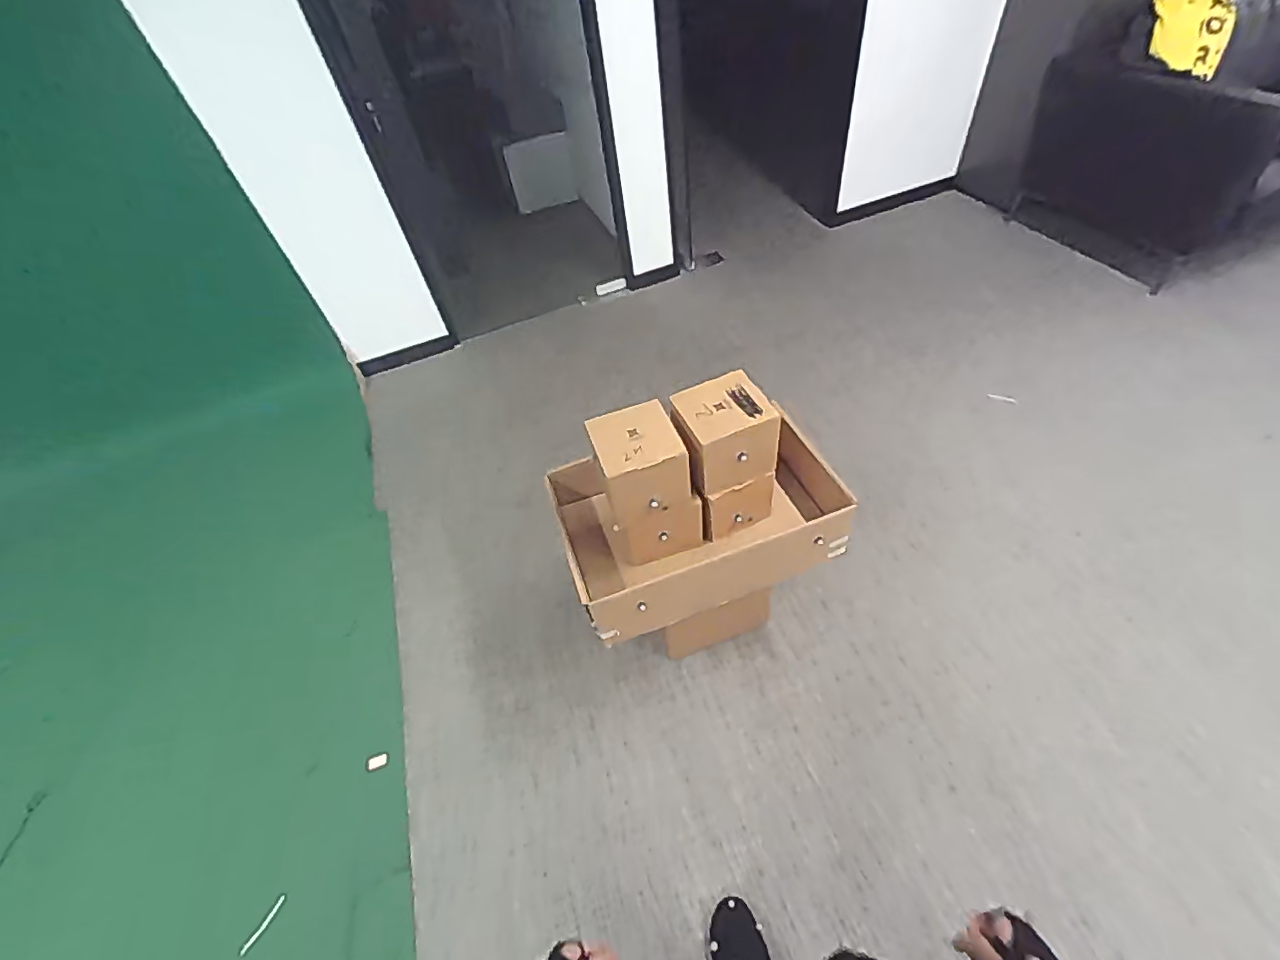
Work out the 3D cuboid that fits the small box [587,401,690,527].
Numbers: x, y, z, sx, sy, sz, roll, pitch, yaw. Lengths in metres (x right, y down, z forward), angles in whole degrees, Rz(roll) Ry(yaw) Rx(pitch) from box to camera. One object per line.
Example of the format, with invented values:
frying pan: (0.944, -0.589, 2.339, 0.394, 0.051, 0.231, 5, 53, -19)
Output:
small box: (-0.002, -0.032, 1.136, 0.168, 0.176, 0.179, -18, 49, -7)
